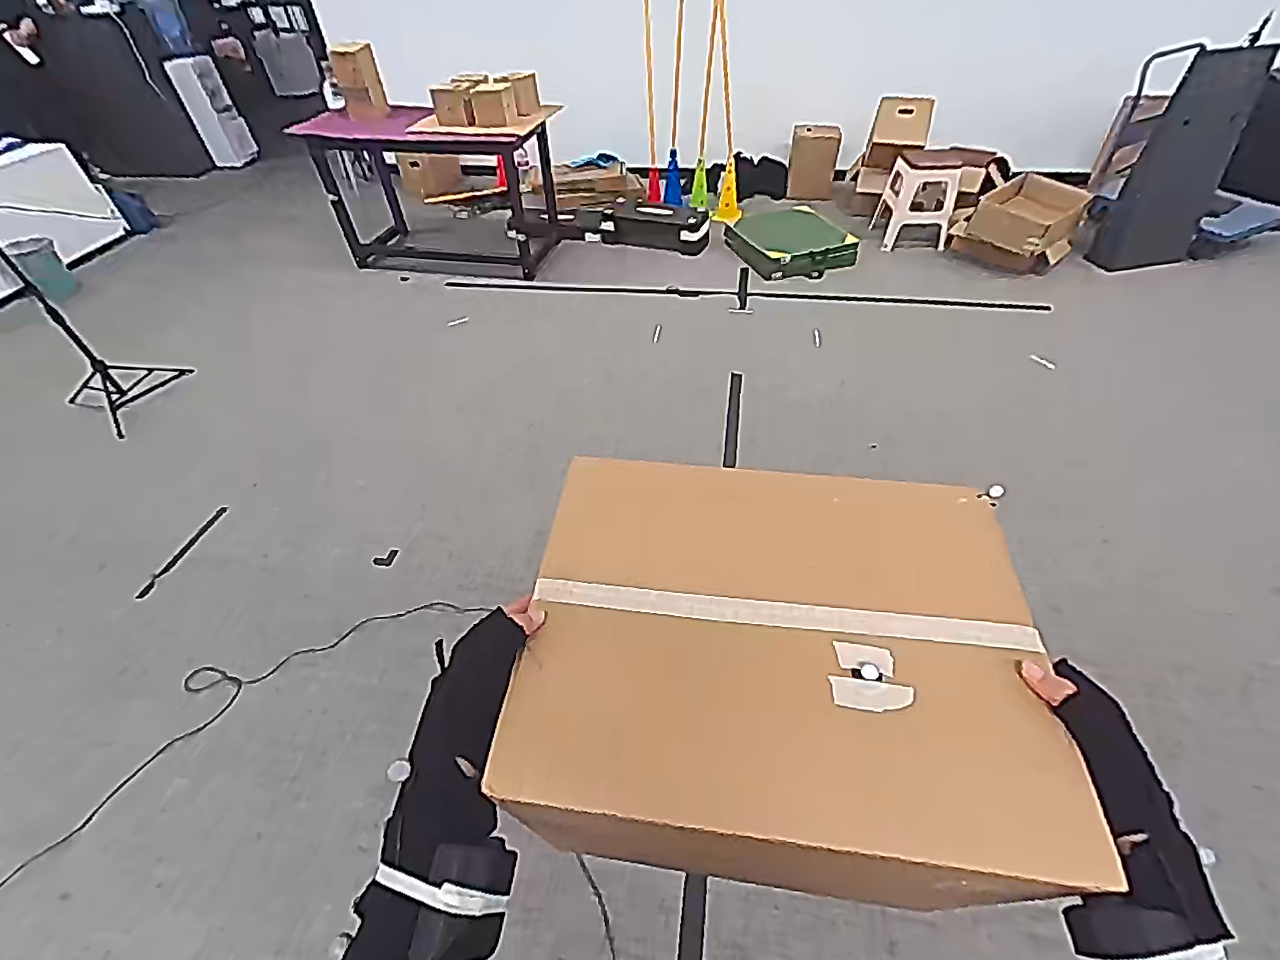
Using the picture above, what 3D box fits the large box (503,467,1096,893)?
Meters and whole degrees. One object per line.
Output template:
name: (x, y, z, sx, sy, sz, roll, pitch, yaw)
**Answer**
large box: (0.117, 0.210, 0.571, 0.408, 0.320, 0.320, 5, 51, 6)
